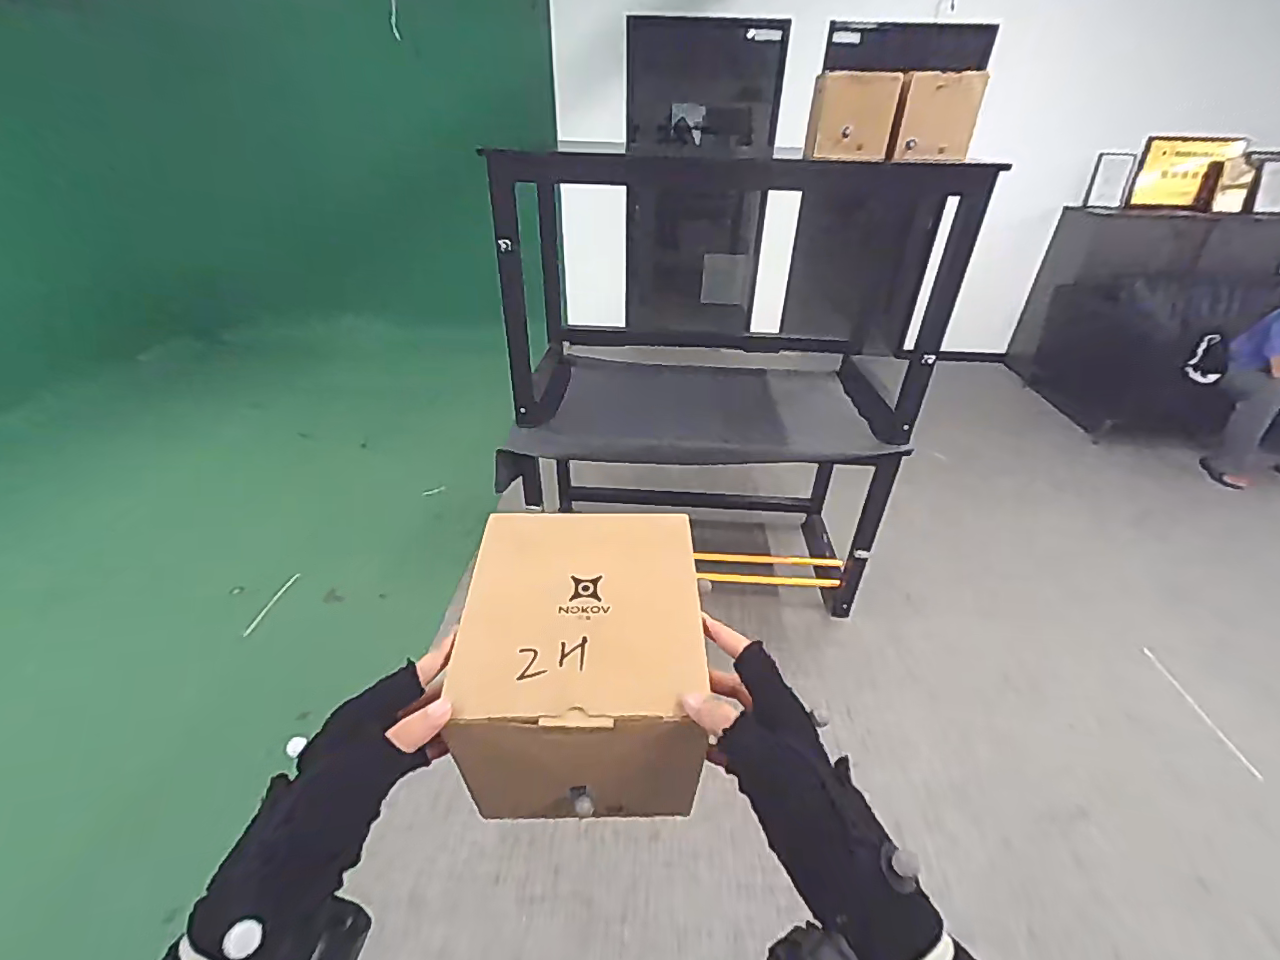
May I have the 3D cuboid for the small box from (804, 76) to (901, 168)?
[{"bbox_3d":[0.503,-0.863,1.308,0.168,0.176,0.179,5,34,5],"label":"small box"}]

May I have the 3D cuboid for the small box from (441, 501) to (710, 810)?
[{"bbox_3d":[-0.041,0.137,0.436,0.168,0.176,0.179,1,40,-1],"label":"small box"}]

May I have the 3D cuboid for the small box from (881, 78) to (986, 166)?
[{"bbox_3d":[0.684,-0.853,1.296,0.168,0.176,0.179,4,32,5],"label":"small box"}]
